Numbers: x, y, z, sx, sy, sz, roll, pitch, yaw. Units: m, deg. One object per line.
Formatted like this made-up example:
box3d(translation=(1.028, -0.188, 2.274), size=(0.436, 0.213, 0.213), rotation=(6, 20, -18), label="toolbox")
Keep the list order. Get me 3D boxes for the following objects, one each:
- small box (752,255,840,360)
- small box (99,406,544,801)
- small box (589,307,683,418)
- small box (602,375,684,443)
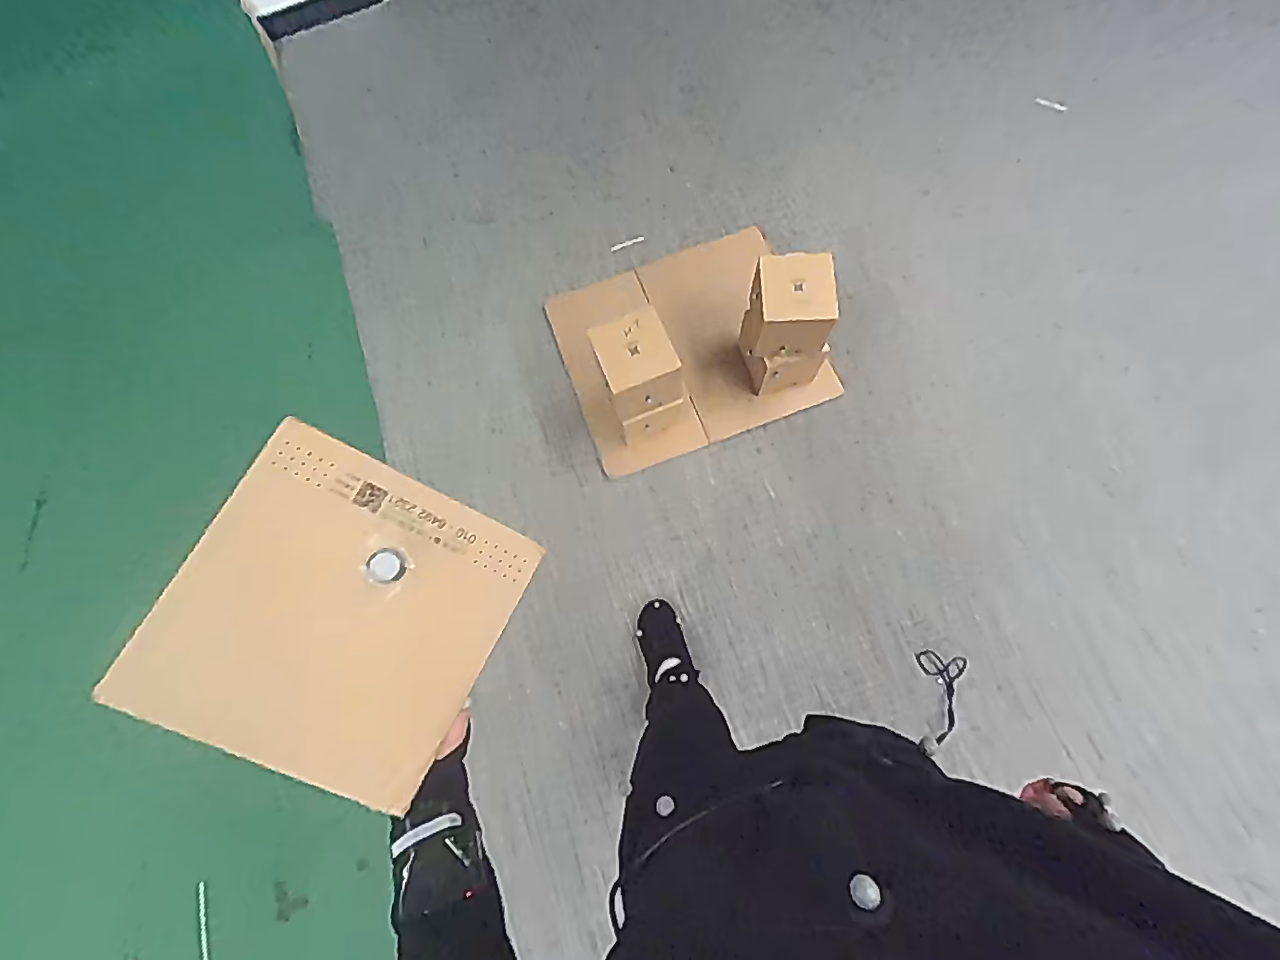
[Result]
box3d(translation=(0.361, -0.405, 1.282), size=(0.168, 0.176, 0.179), rotation=(0, 73, 3), label="small box")
box3d(translation=(-0.182, 0.074, 0.376), size=(0.168, 0.179, 0.176), rotation=(30, 75, -11), label="small box")
box3d(translation=(-0.003, -0.265, 1.271), size=(0.168, 0.176, 0.179), rotation=(-21, 73, -3), label="small box")
box3d(translation=(0.013, -0.213, 1.427), size=(0.168, 0.176, 0.179), rotation=(-22, 72, -2), label="small box")
